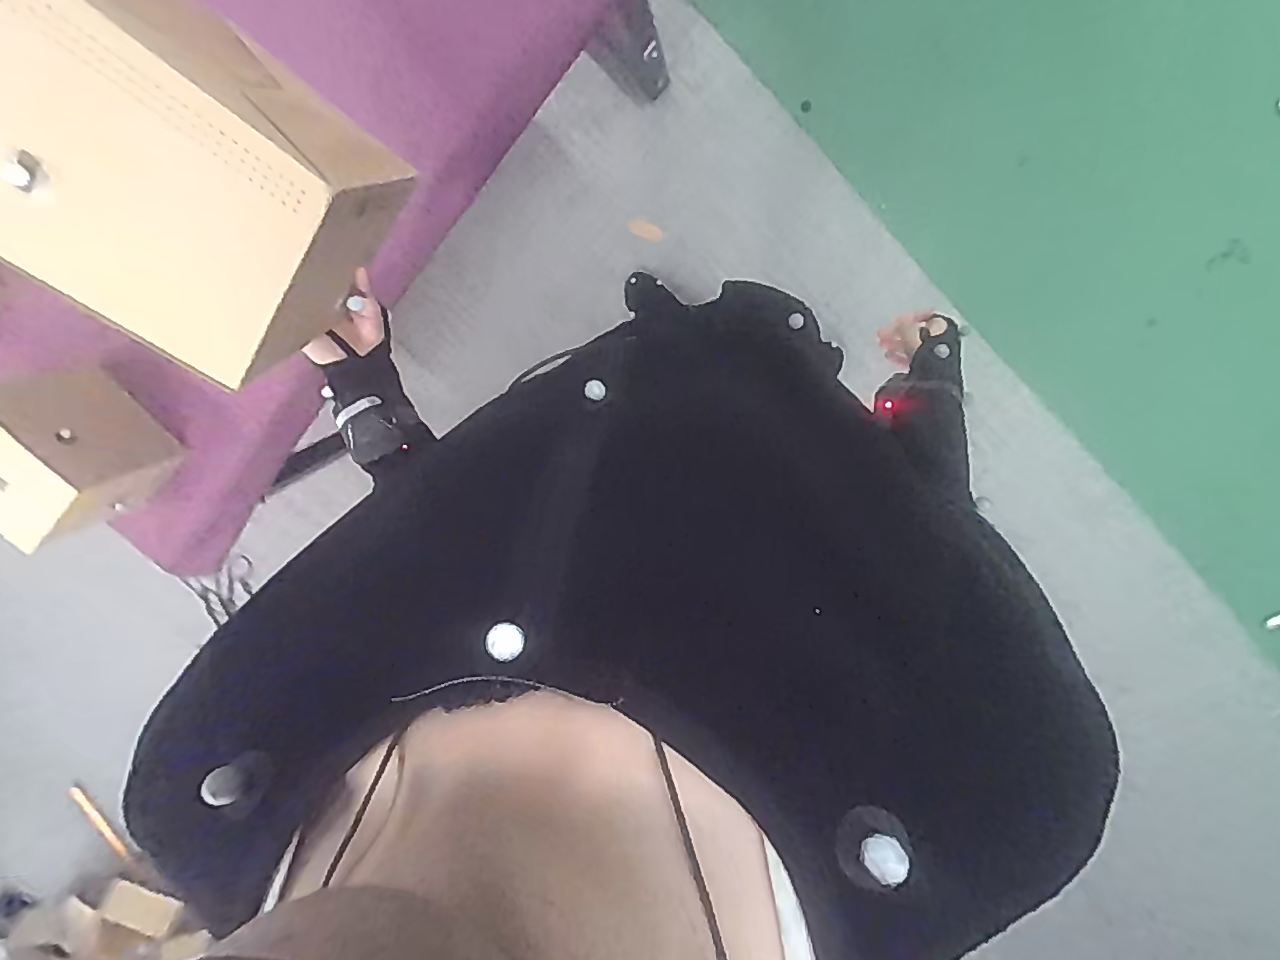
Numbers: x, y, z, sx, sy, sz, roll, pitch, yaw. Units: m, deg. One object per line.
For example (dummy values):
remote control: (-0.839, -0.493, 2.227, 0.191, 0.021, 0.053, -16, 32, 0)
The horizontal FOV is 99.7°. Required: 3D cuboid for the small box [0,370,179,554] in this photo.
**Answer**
small box: (-0.834, -0.034, 0.778, 0.168, 0.176, 0.179, -35, 104, 18)
